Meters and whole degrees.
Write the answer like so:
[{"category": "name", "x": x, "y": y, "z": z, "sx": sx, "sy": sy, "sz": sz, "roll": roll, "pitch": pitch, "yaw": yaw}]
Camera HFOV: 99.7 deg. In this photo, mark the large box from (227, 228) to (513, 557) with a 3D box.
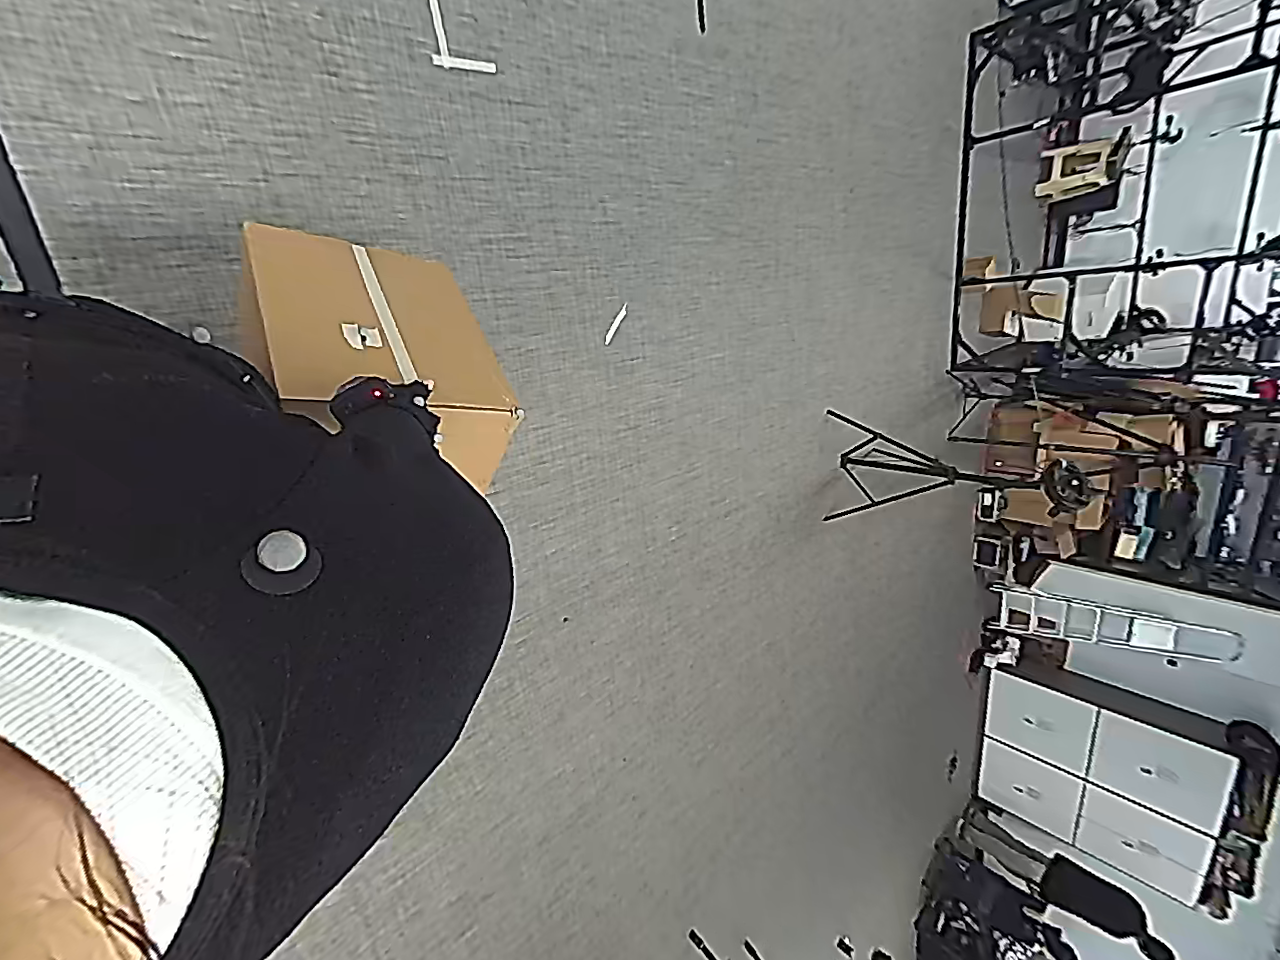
[{"category": "large box", "x": -0.467, "y": -0.135, "z": 0.895, "sx": 0.320, "sy": 0.408, "sz": 0.320, "roll": -3, "pitch": 141, "yaw": -40}]
